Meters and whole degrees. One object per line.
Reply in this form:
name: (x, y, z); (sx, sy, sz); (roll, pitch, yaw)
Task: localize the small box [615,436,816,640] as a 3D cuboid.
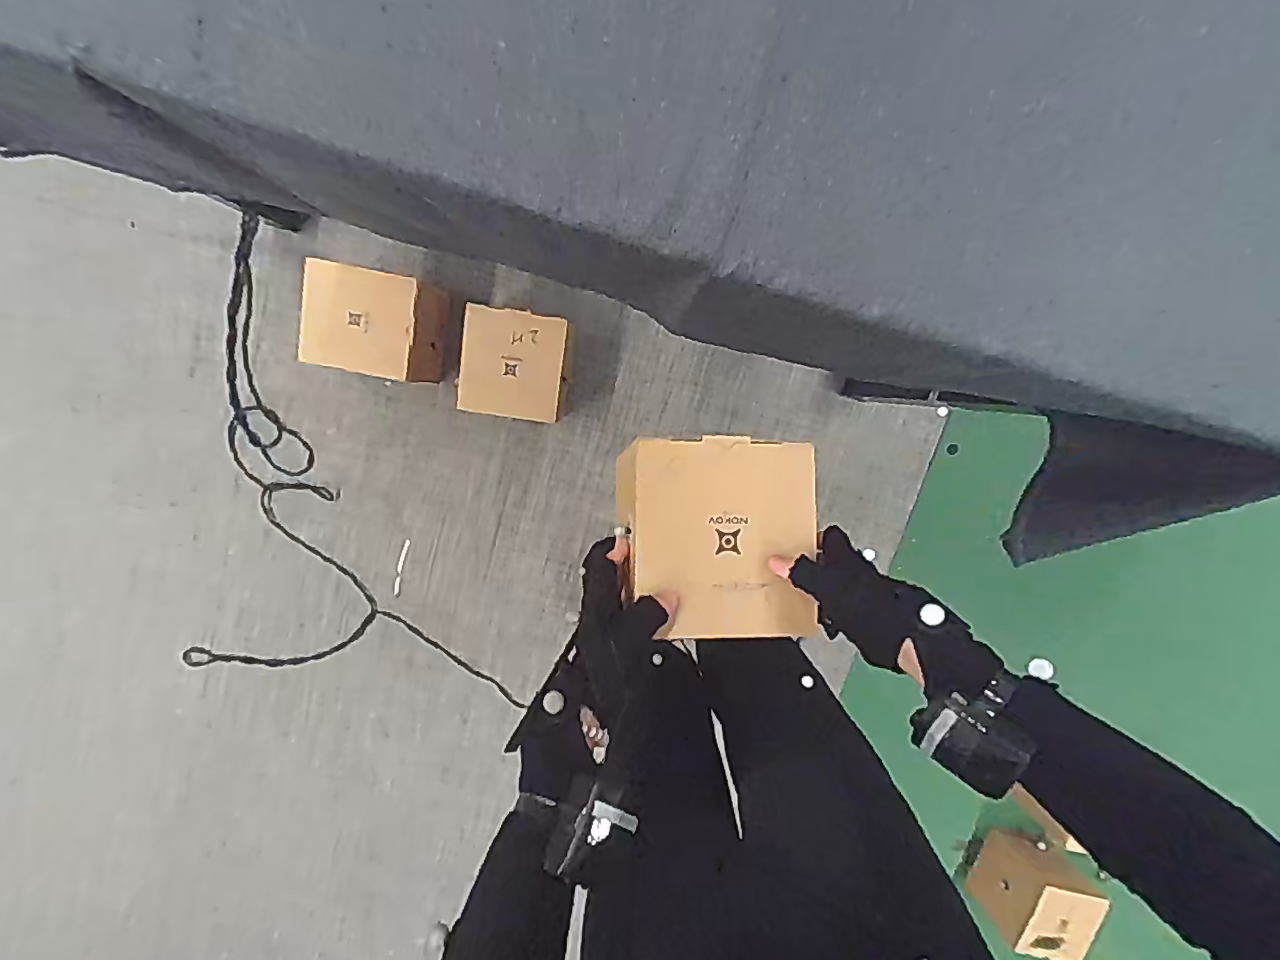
small box: (0.064, 0.058, 0.550); (0.168, 0.176, 0.179); (2, 86, -8)

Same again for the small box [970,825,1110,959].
small box: (0.903, 0.946, 1.243); (0.168, 0.176, 0.179); (17, 99, -6)
